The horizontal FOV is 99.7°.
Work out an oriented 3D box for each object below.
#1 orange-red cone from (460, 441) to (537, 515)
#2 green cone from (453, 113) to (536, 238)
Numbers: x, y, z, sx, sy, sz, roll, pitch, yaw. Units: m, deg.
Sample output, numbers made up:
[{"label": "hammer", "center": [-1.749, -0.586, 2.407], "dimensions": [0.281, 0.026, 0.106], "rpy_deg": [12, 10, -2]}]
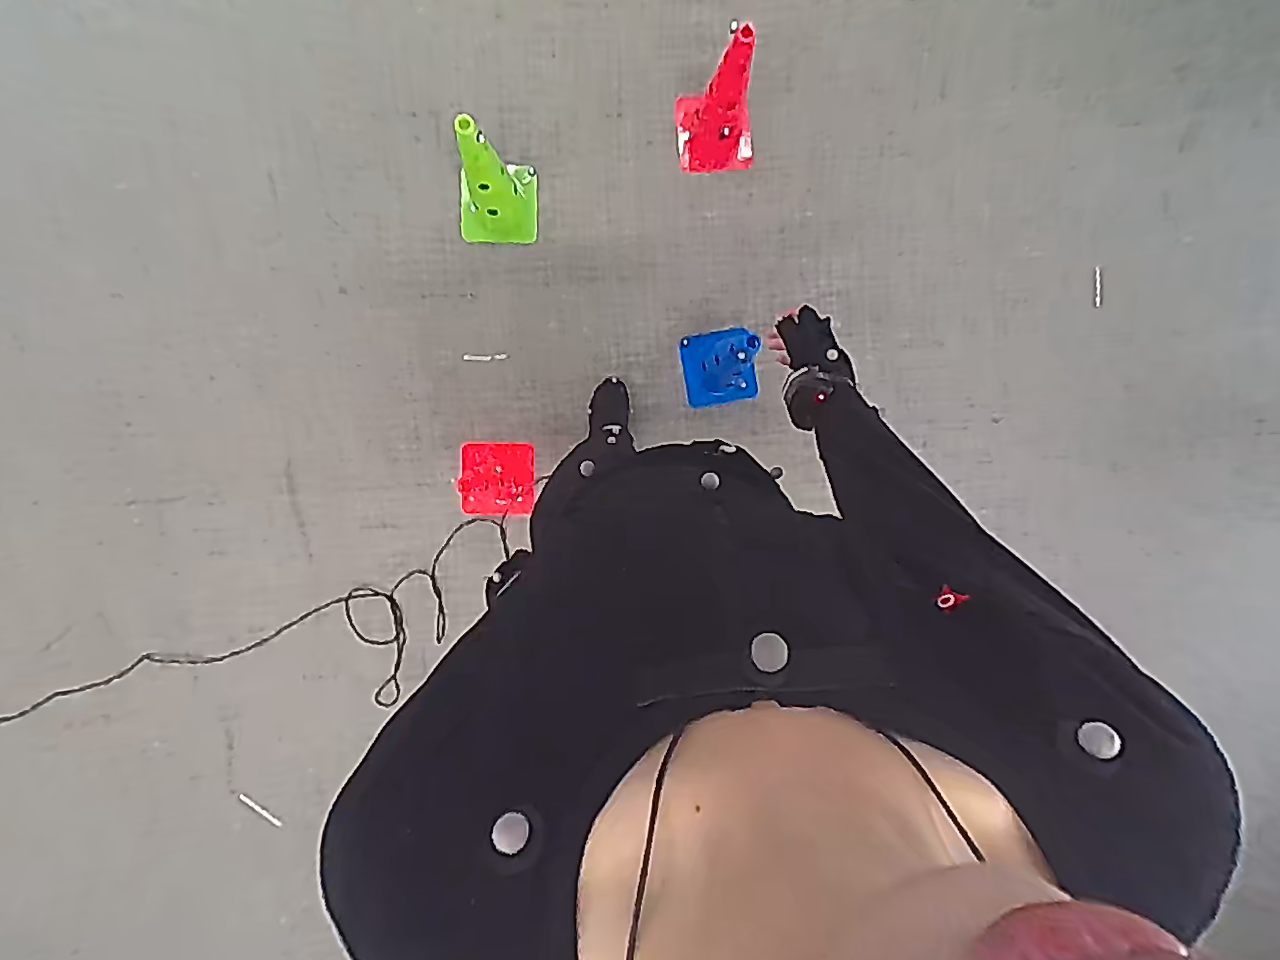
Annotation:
[{"label": "orange-red cone", "center": [-0.370, -0.001, 1.298], "dimensions": [0.198, 0.360, 0.199], "rpy_deg": [1, 91, -4]}, {"label": "green cone", "center": [-0.368, -0.732, 1.258], "dimensions": [0.200, 0.368, 0.202], "rpy_deg": [-1, 94, -3]}]
